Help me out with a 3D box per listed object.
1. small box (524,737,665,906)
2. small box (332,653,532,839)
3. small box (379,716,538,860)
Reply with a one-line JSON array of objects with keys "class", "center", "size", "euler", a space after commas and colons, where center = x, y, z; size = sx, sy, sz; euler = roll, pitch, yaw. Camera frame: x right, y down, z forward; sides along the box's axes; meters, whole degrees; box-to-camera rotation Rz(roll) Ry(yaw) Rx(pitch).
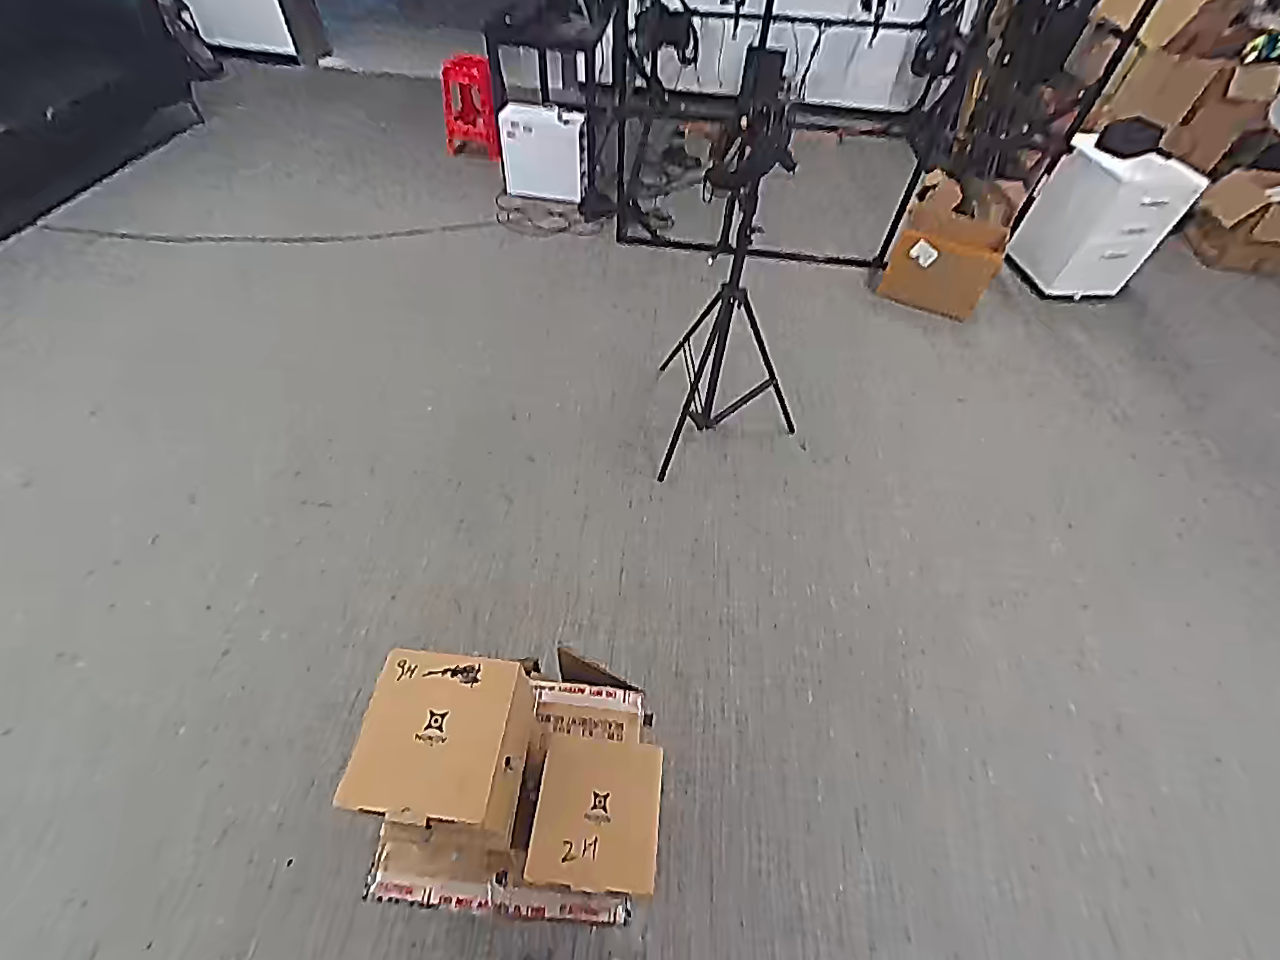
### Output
[{"class": "small box", "center": [-0.062, 0.492, 0.778], "size": [0.168, 0.176, 0.179], "euler": [7, 52, 0]}, {"class": "small box", "center": [-0.238, 0.337, 0.676], "size": [0.168, 0.176, 0.179], "euler": [6, 54, 1]}, {"class": "small box", "center": [-0.250, 0.446, 0.799], "size": [0.168, 0.176, 0.179], "euler": [4, 54, 1]}]
